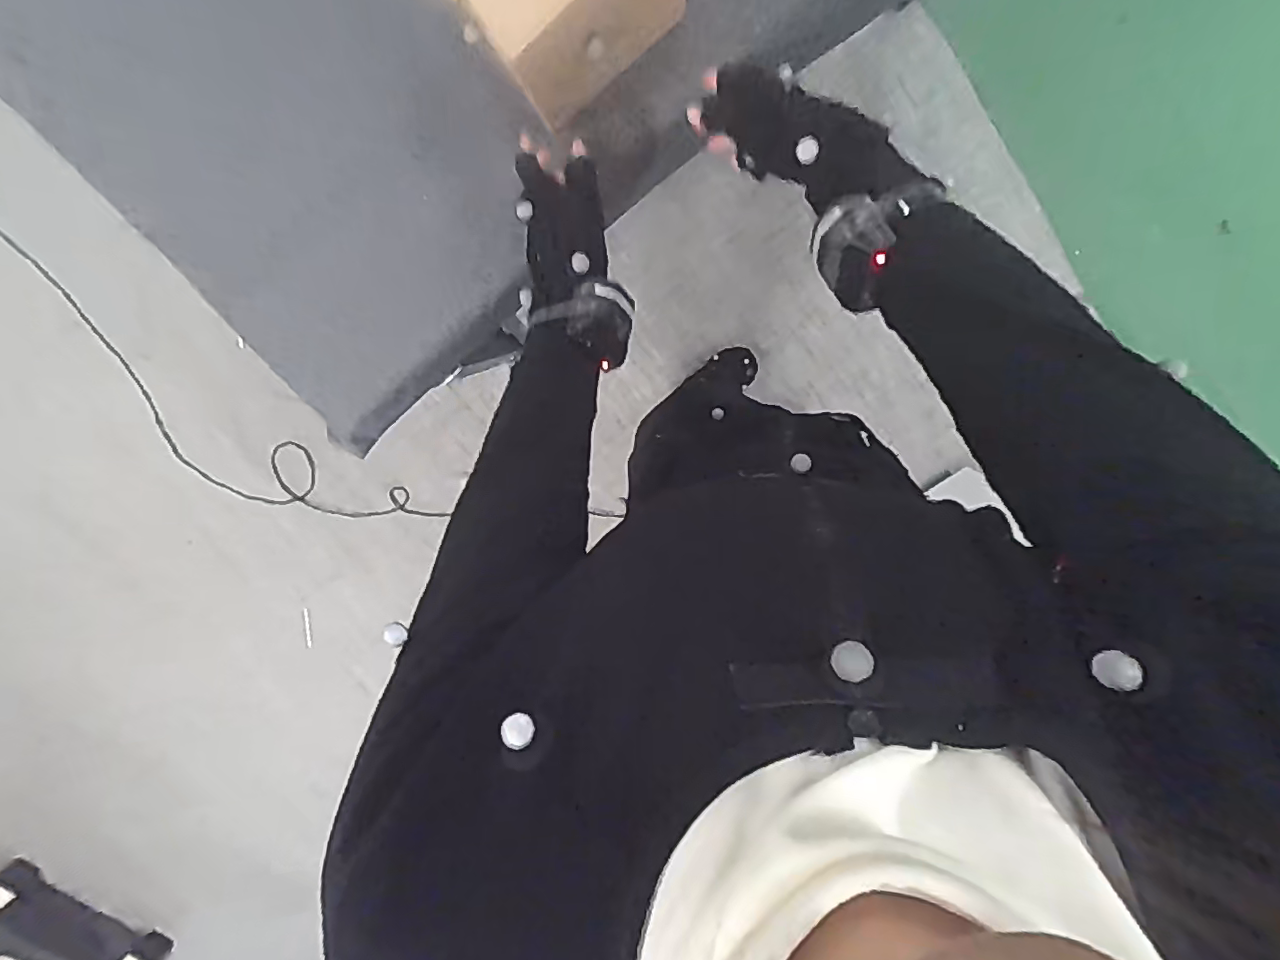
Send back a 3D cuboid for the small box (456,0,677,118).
[{"bbox_3d":[-0.078,-0.462,0.465,0.179,0.176,0.168,-34,101,15],"label":"small box"}]
